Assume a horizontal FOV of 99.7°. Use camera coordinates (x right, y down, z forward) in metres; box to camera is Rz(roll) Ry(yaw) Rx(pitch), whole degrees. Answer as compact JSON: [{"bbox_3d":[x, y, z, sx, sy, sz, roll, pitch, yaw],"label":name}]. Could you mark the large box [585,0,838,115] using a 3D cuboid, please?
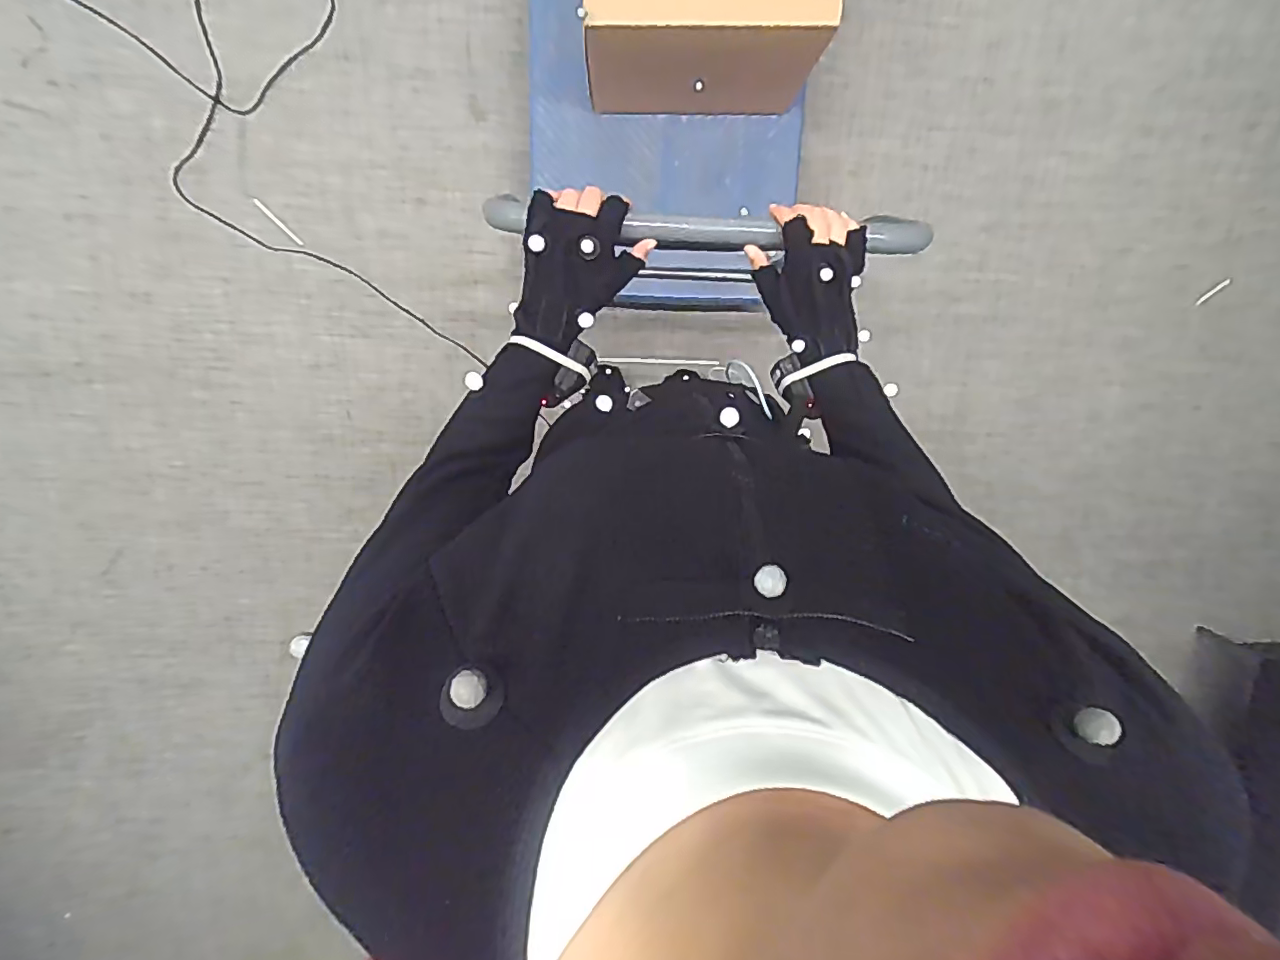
[{"bbox_3d":[0.108,-0.890,0.965,0.408,0.320,0.320,-1,101,-2],"label":"large box"}]
